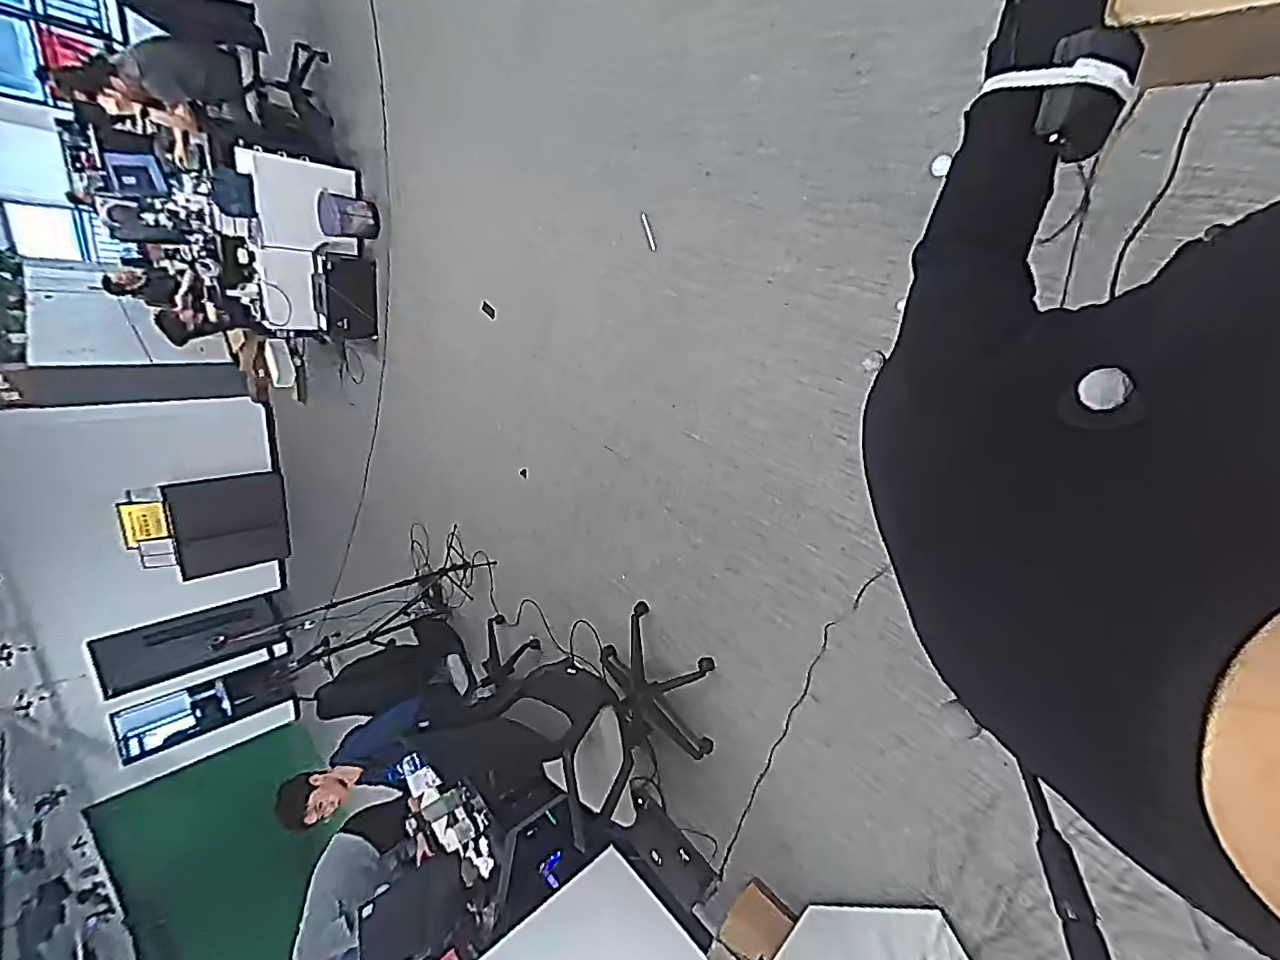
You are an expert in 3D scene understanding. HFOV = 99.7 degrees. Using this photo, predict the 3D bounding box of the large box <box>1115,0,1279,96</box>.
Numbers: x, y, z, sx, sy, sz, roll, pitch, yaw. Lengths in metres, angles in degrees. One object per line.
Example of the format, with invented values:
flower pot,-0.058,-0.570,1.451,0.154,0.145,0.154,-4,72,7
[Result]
large box,0.565,-0.435,0.286,0.408,0.320,0.320,21,125,37
